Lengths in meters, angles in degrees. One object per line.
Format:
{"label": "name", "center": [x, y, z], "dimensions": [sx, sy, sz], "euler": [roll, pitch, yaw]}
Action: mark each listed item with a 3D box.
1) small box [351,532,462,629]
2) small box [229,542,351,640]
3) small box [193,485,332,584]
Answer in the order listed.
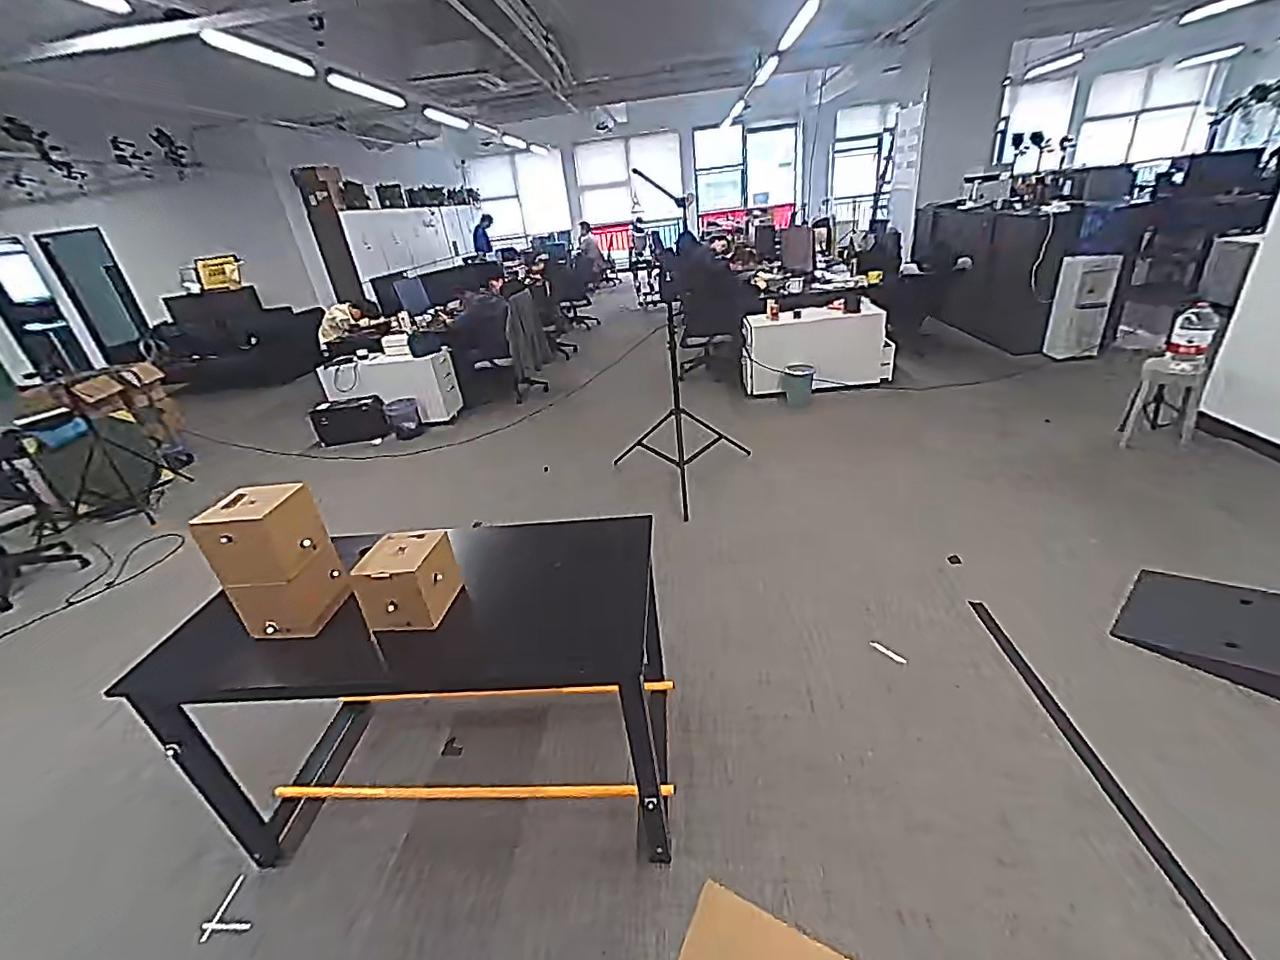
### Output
{"label": "small box", "center": [-0.556, 0.247, 1.318], "dimensions": [0.168, 0.176, 0.179], "euler": [-3, 28, 7]}
{"label": "small box", "center": [-0.853, 0.274, 1.342], "dimensions": [0.168, 0.176, 0.179], "euler": [-5, 28, 6]}
{"label": "small box", "center": [-0.871, 0.129, 1.266], "dimensions": [0.179, 0.176, 0.168], "euler": [-5, 27, 5]}
